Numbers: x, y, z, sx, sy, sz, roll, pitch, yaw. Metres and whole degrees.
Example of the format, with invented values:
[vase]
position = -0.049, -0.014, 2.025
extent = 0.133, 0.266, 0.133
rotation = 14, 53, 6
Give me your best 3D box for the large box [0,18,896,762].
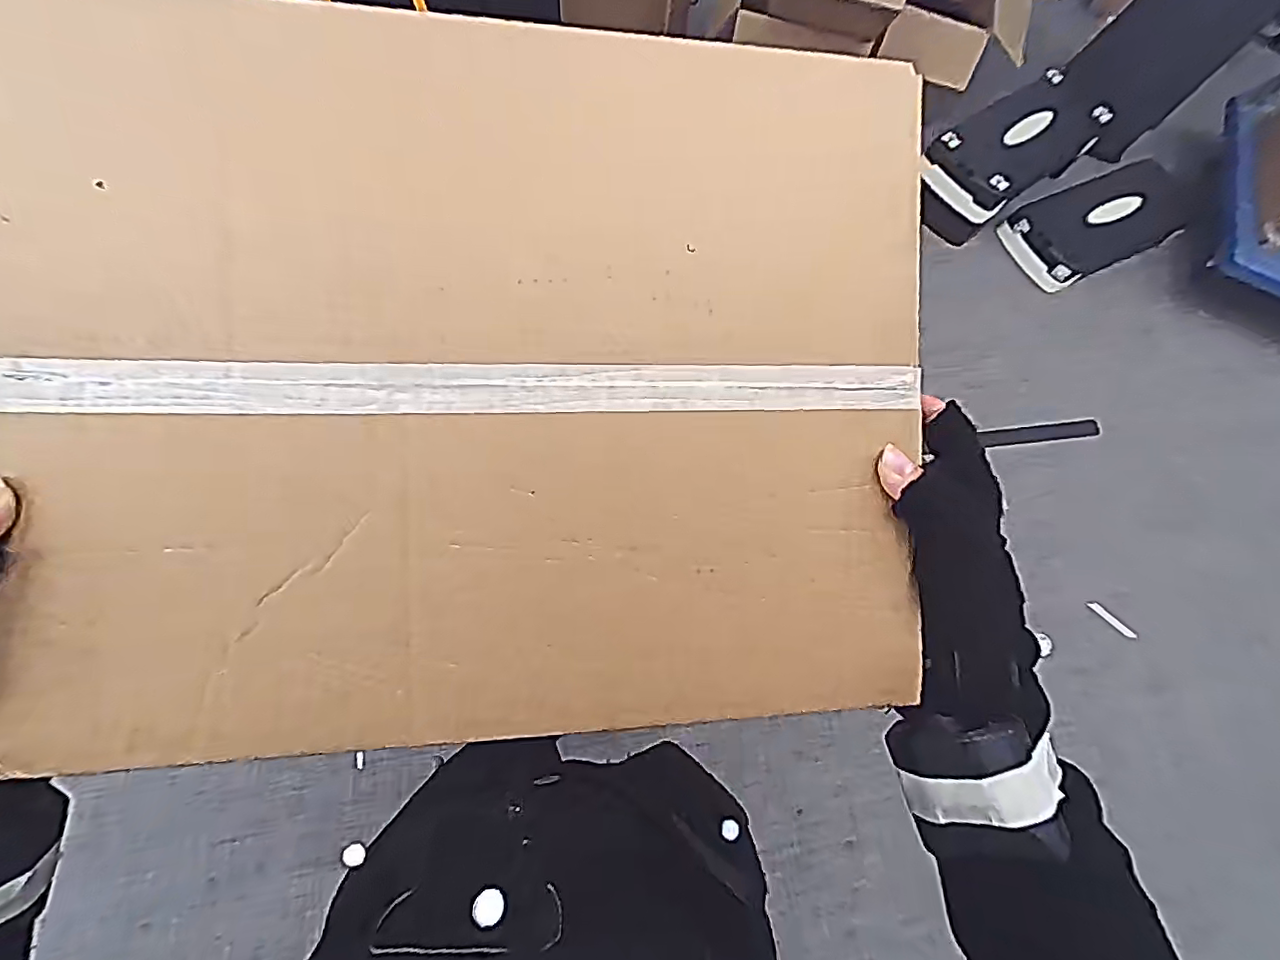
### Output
[large box]
position = -0.086, -0.043, 0.397
extent = 0.408, 0.320, 0.320
rotation = -1, 91, -9
